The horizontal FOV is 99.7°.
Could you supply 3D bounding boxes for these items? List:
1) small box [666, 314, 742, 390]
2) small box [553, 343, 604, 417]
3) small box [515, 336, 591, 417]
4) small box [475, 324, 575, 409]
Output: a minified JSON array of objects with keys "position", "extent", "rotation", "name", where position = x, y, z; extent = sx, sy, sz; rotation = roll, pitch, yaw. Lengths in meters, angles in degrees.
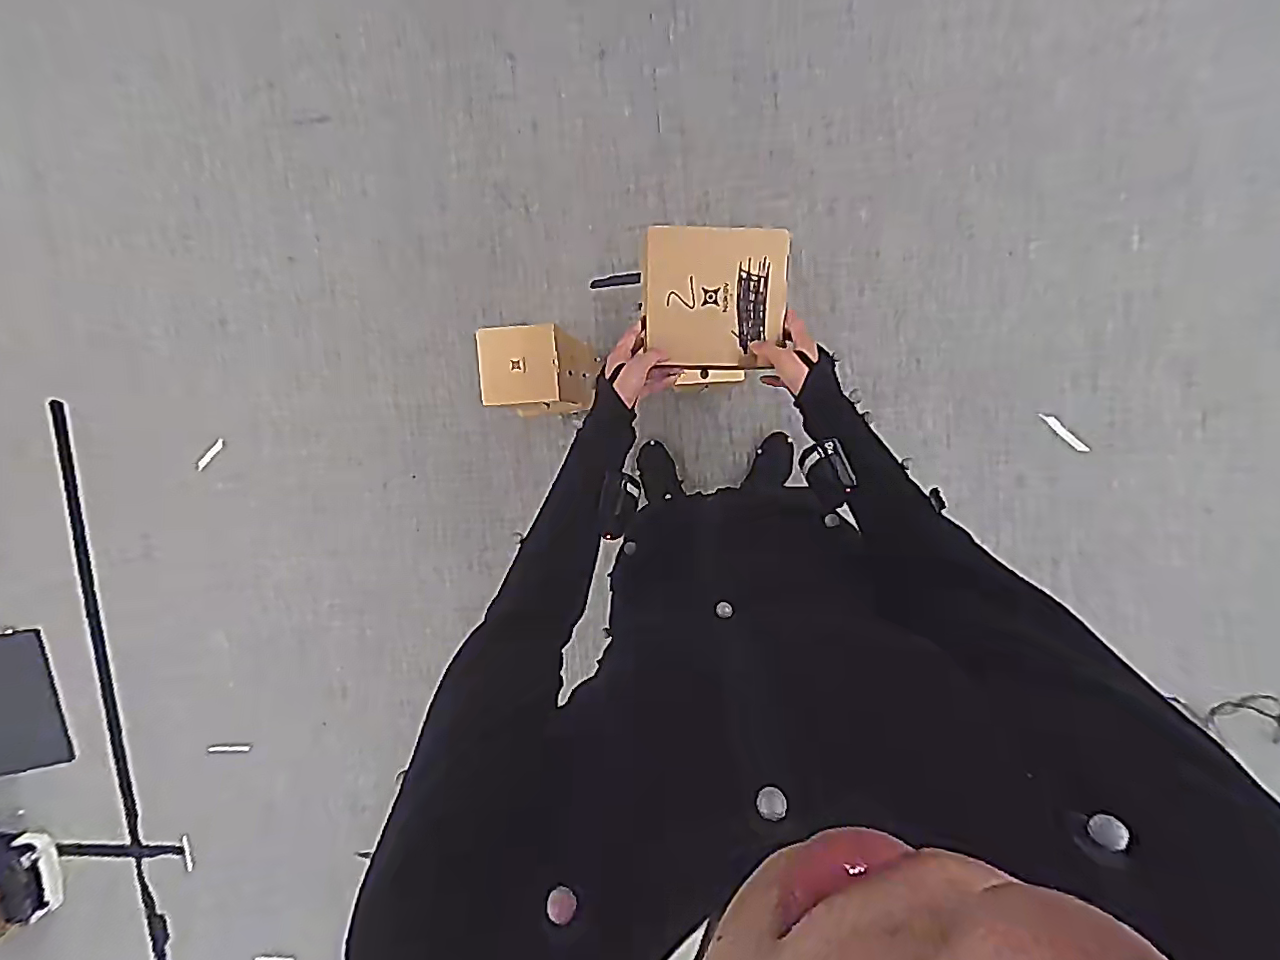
[{"position":[0.155,-0.315,1.353],"extent":[0.179,0.176,0.168],"rotation":[-2,95,4],"name":"small box"},{"position":[-0.207,-0.282,1.554],"extent":[0.168,0.176,0.179],"rotation":[-10,95,6],"name":"small box"},{"position":[-0.229,-0.259,1.393],"extent":[0.168,0.176,0.179],"rotation":[-8,96,7],"name":"small box"},{"position":[-0.256,-0.252,1.232],"extent":[0.179,0.176,0.168],"rotation":[-3,96,6],"name":"small box"}]
